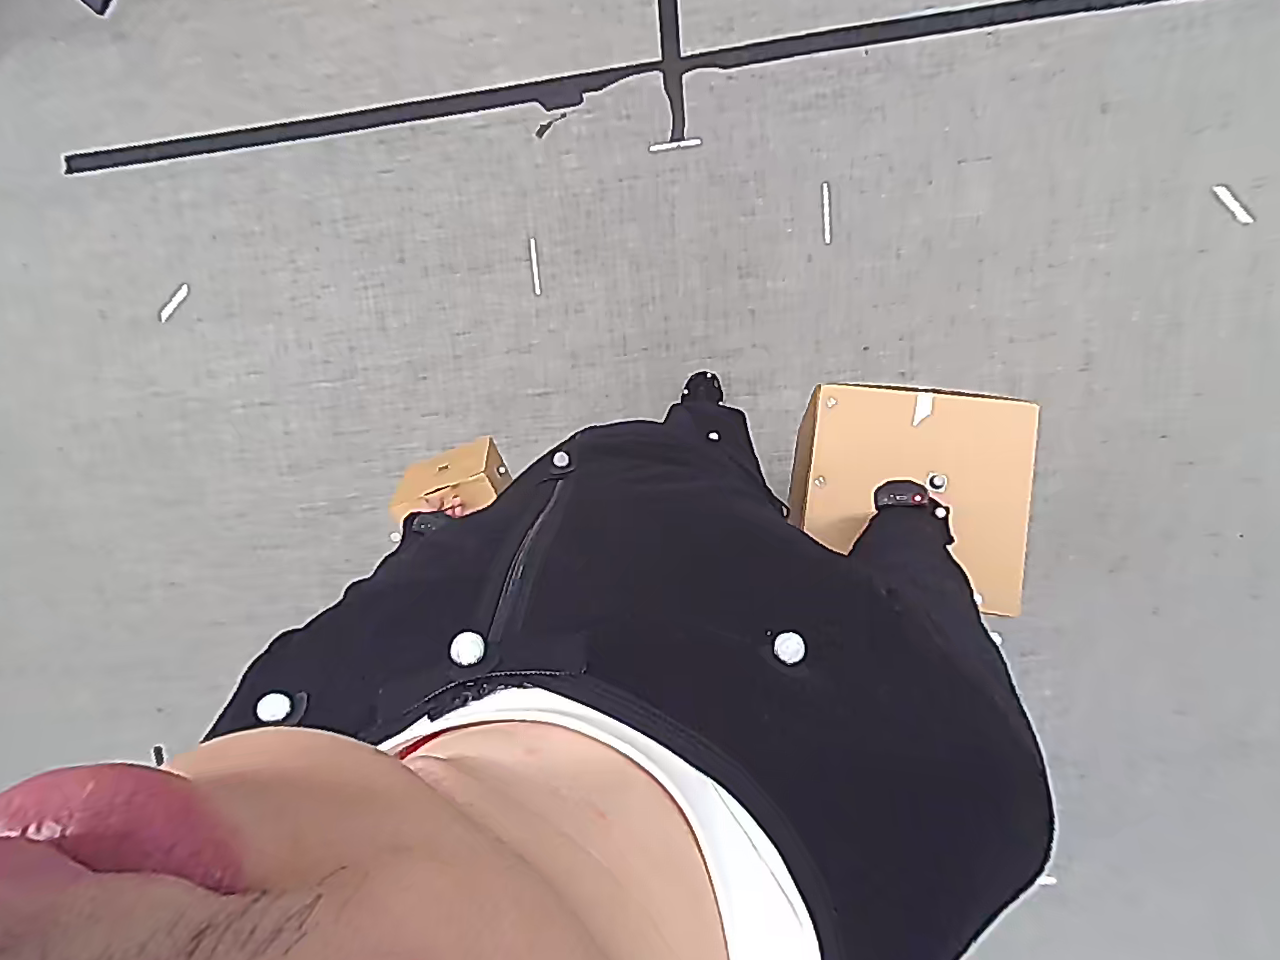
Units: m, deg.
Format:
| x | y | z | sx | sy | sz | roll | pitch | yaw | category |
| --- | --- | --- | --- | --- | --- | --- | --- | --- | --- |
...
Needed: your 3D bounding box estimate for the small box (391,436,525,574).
| x | y | z | sx | sy | sz | roll | pitch | yaw | category |
| --- | --- | --- | --- | --- | --- | --- | --- | --- | --- |
| -0.317 | 0.049 | 0.983 | 0.168 | 0.179 | 0.176 | -21 | 117 | -2 | small box |
